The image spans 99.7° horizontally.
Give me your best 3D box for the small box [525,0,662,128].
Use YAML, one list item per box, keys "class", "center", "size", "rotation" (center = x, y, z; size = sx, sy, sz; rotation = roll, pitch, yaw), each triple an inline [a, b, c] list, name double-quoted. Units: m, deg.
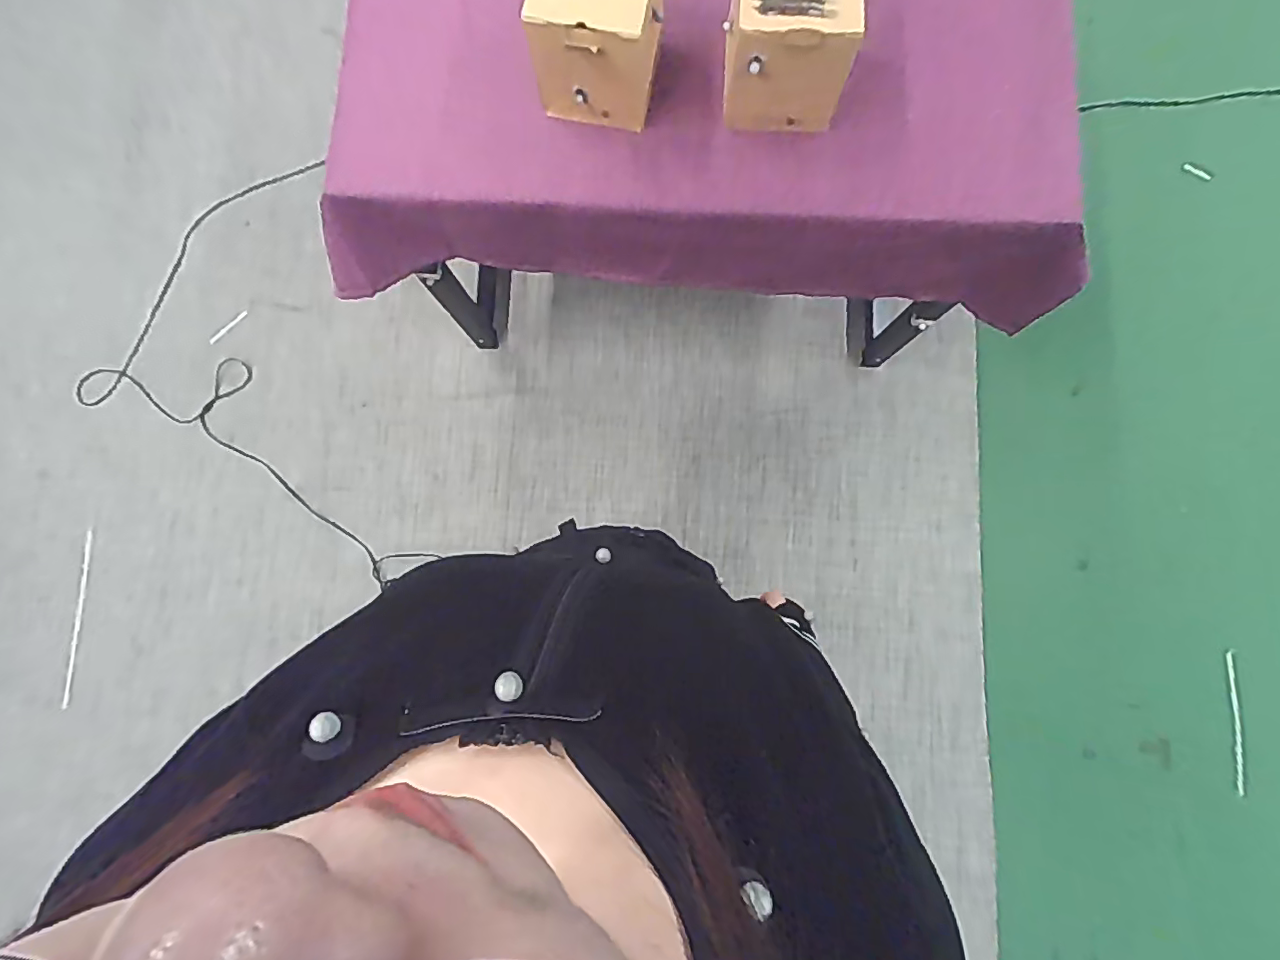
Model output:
- class: "small box"
  center: [-0.061, -0.686, 0.820]
  size: [0.168, 0.176, 0.179]
  rotation: [11, 84, 2]
